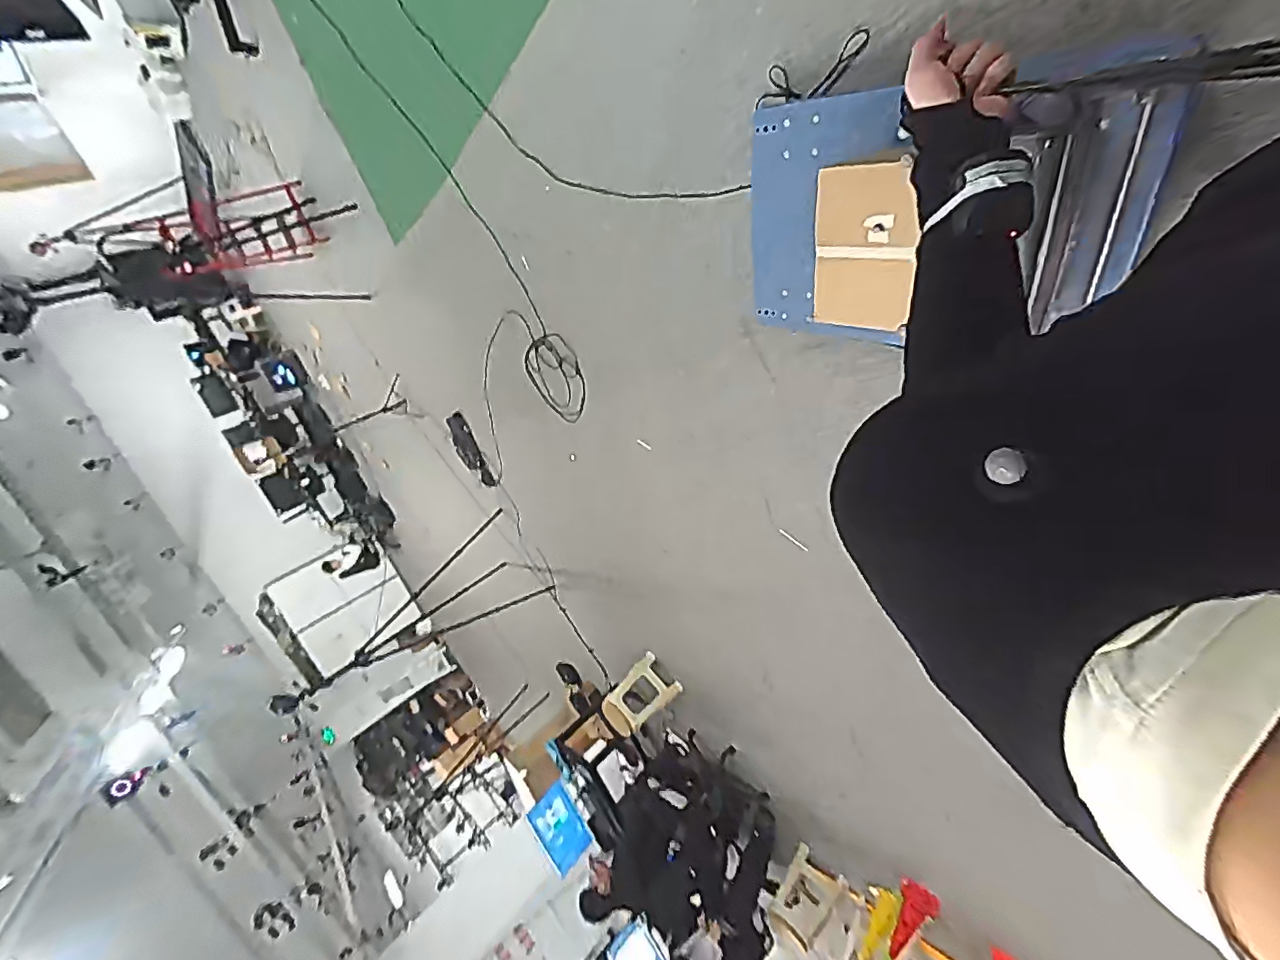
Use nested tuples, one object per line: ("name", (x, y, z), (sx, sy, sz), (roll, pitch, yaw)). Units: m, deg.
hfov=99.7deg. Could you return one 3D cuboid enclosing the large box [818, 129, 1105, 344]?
("large box", (0.628, -0.497, 1.106), (0.408, 0.320, 0.320), (23, 134, 41))
